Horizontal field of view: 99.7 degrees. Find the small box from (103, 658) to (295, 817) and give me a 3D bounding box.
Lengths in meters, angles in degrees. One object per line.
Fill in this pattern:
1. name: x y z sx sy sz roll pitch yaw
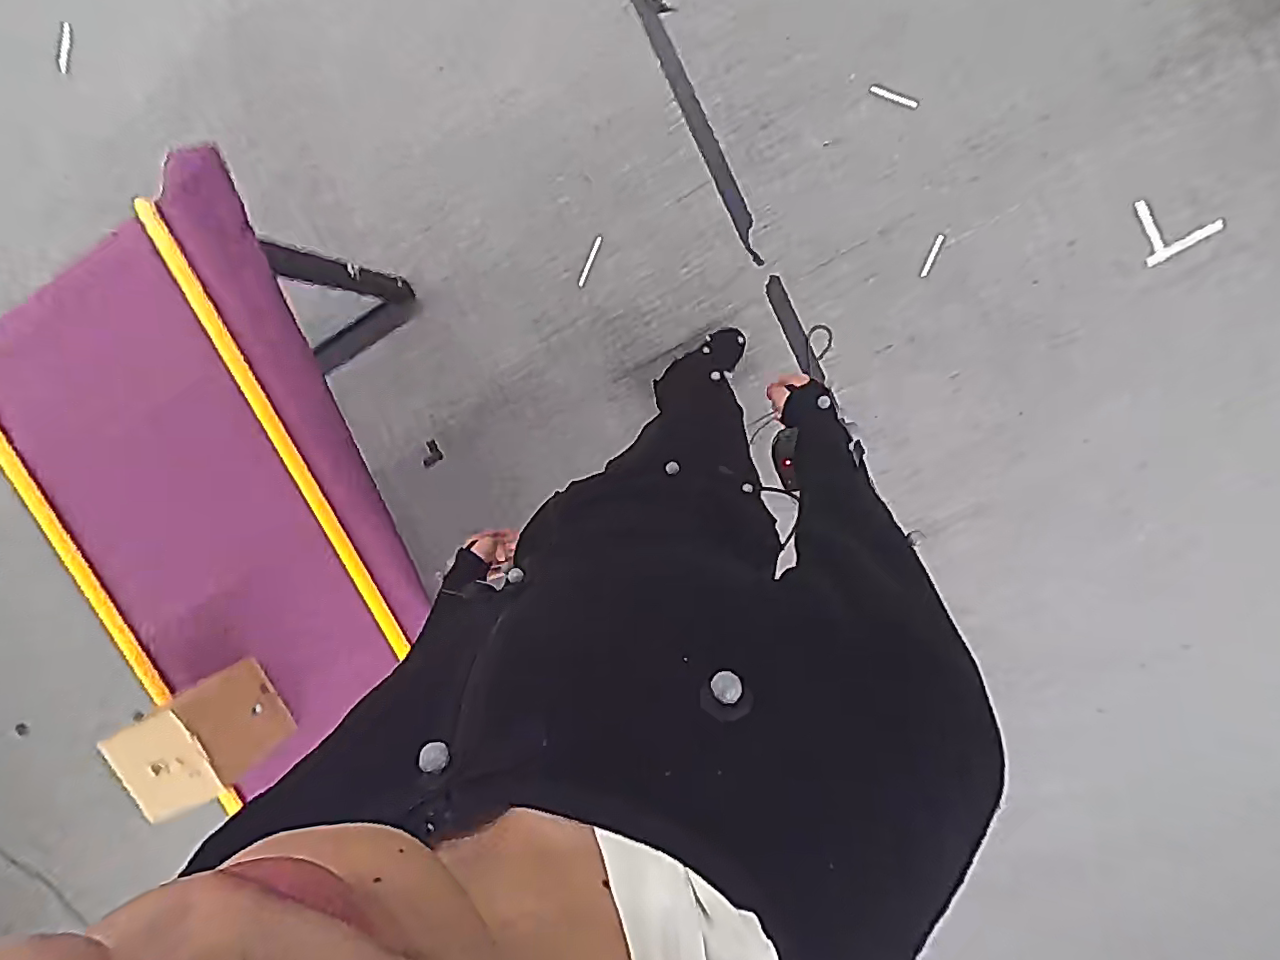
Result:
1. small box: -0.781 0.455 0.977 0.179 0.176 0.168 -26 97 10
